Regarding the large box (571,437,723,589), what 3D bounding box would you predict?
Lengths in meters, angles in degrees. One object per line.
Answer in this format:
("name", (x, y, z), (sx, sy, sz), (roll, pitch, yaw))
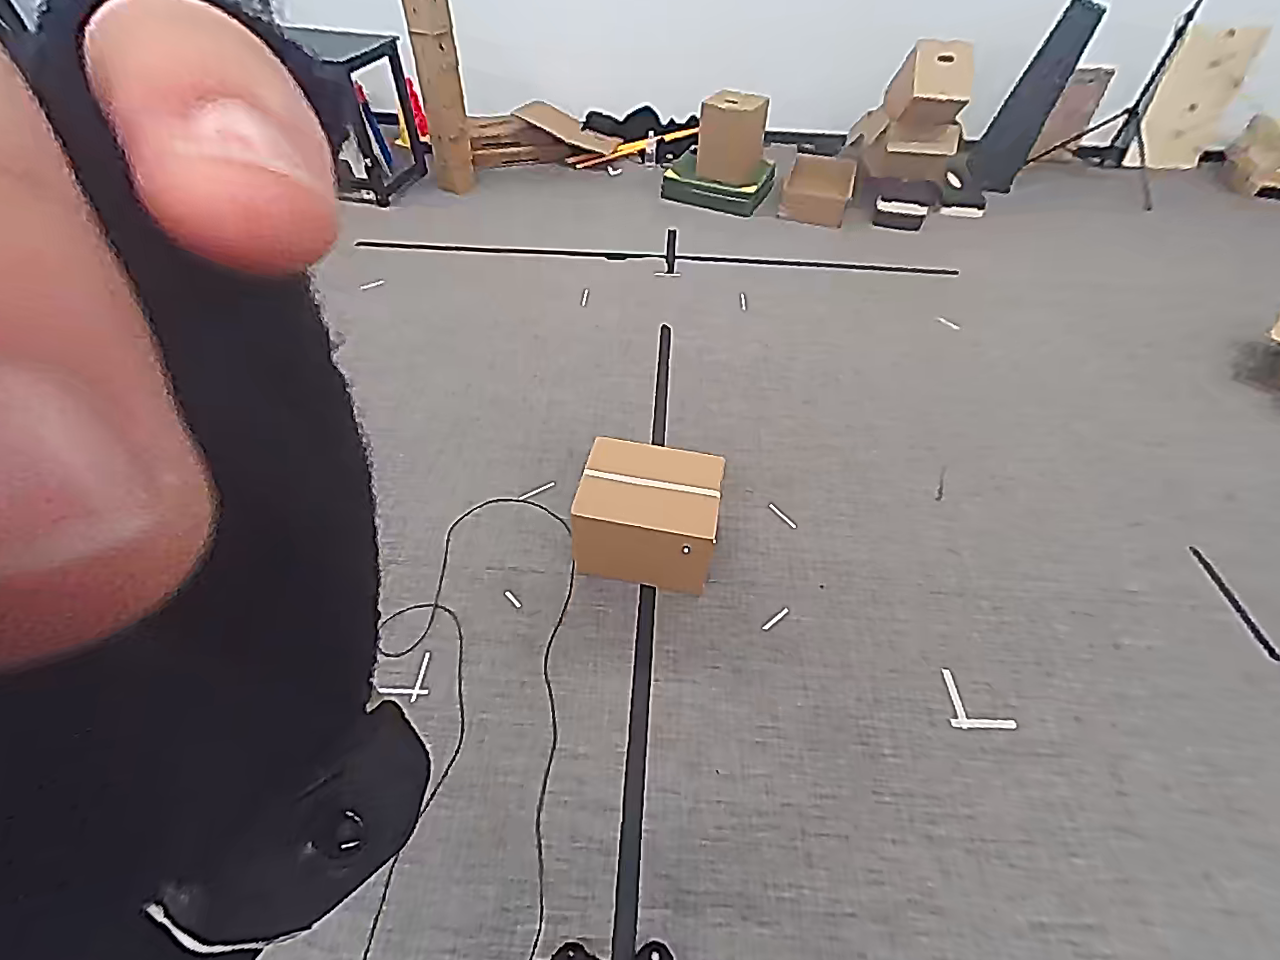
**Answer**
("large box", (0.027, 0.106, 1.672), (0.408, 0.320, 0.320), (10, 50, 5))
